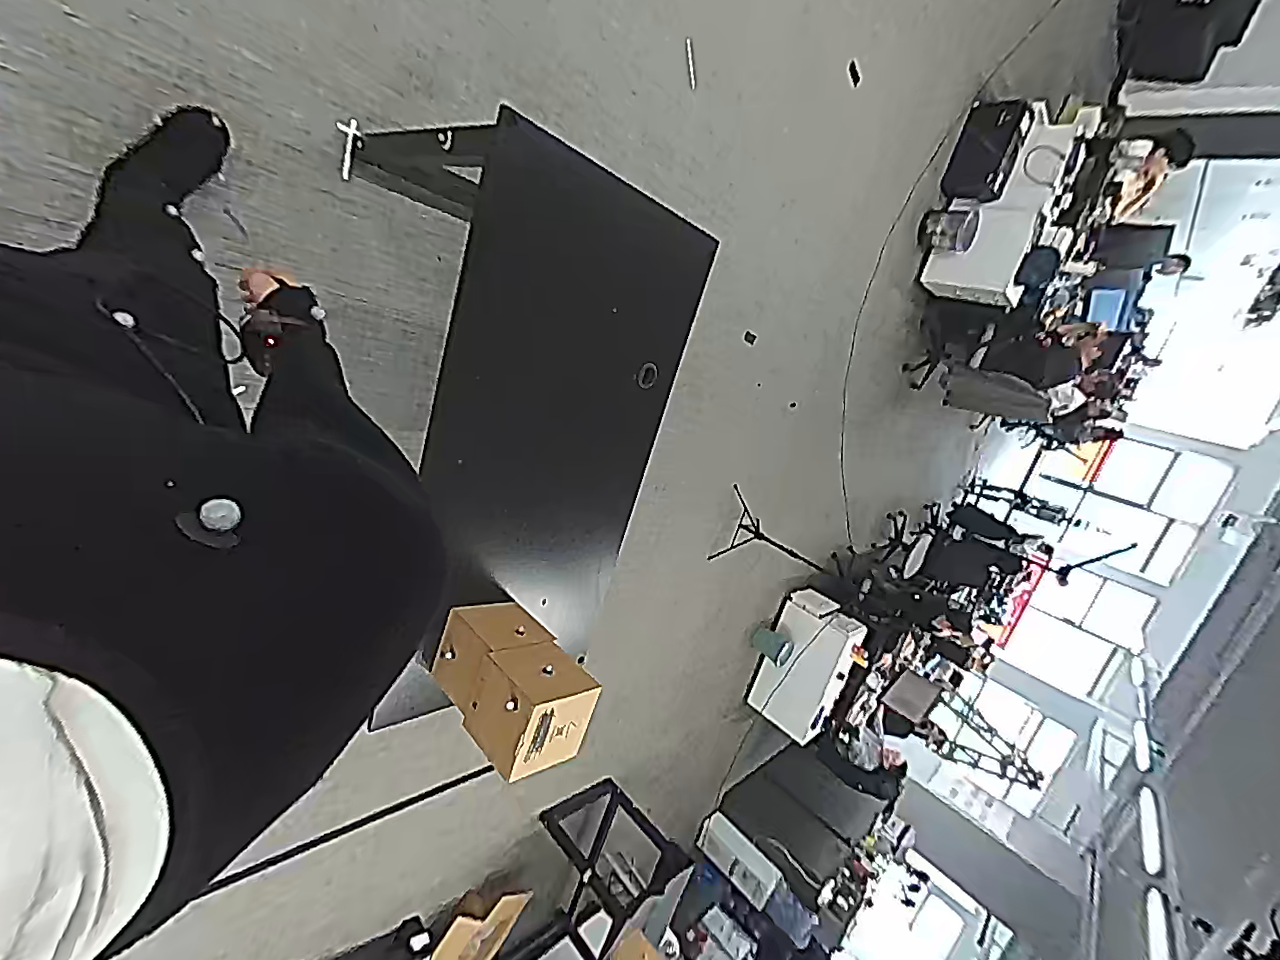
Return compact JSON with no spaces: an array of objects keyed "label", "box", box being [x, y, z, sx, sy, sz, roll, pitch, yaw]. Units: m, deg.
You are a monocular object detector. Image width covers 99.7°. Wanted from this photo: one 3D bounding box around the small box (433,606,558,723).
[{"label":"small box","box":[-0.317,0.388,1.177,0.179,0.176,0.168,9,104,-50]}]
